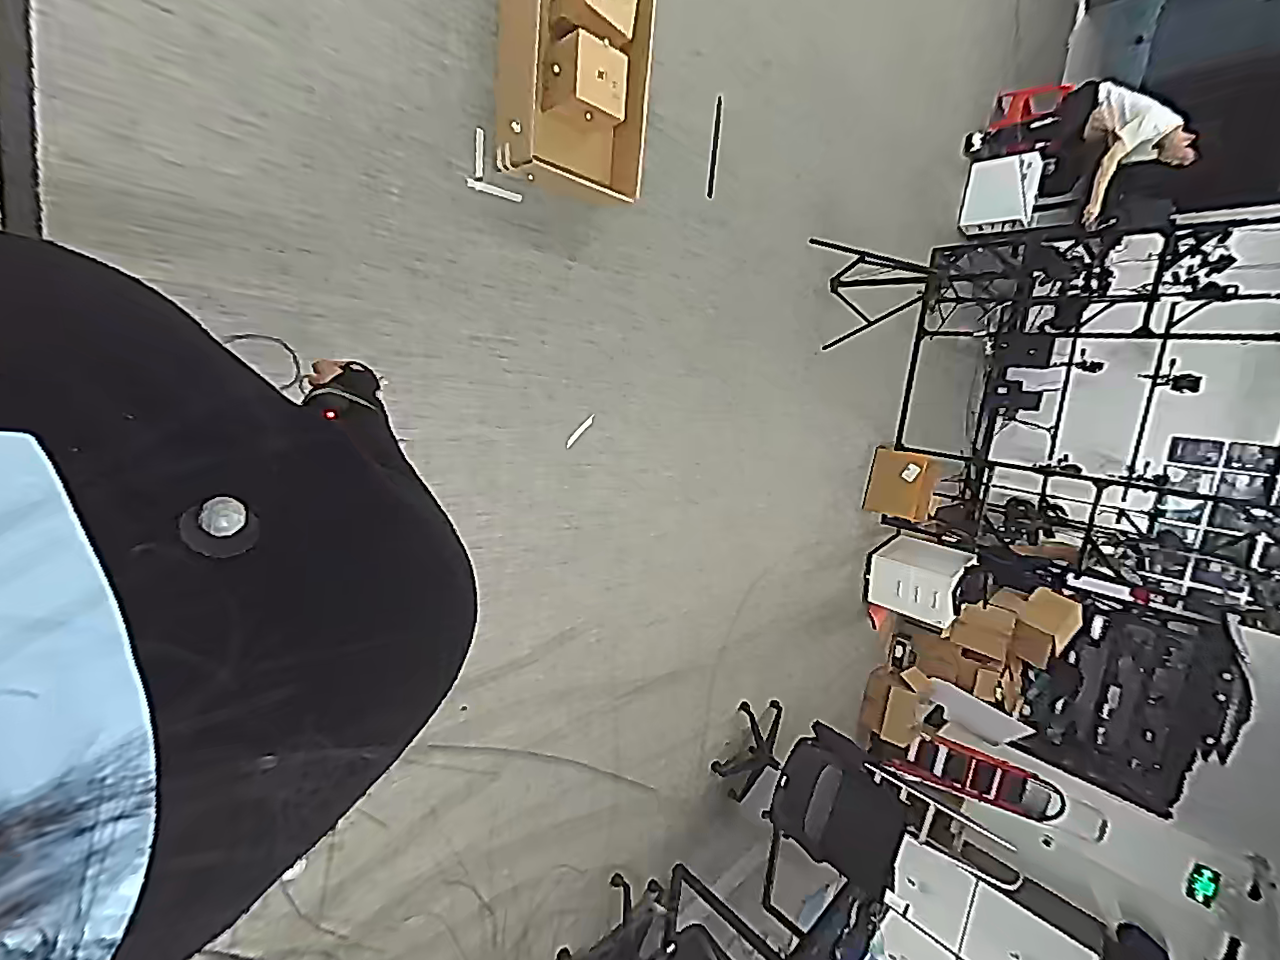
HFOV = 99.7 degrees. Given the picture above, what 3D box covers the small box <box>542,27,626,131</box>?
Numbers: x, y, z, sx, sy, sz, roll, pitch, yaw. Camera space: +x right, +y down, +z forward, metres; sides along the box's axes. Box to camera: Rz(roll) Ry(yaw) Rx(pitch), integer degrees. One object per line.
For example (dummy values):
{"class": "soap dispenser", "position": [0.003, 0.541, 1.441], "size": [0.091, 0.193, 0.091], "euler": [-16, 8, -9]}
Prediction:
{"class": "small box", "position": [-0.163, -1.126, 1.537], "size": [0.179, 0.176, 0.168], "euler": [-6, 106, -44]}
